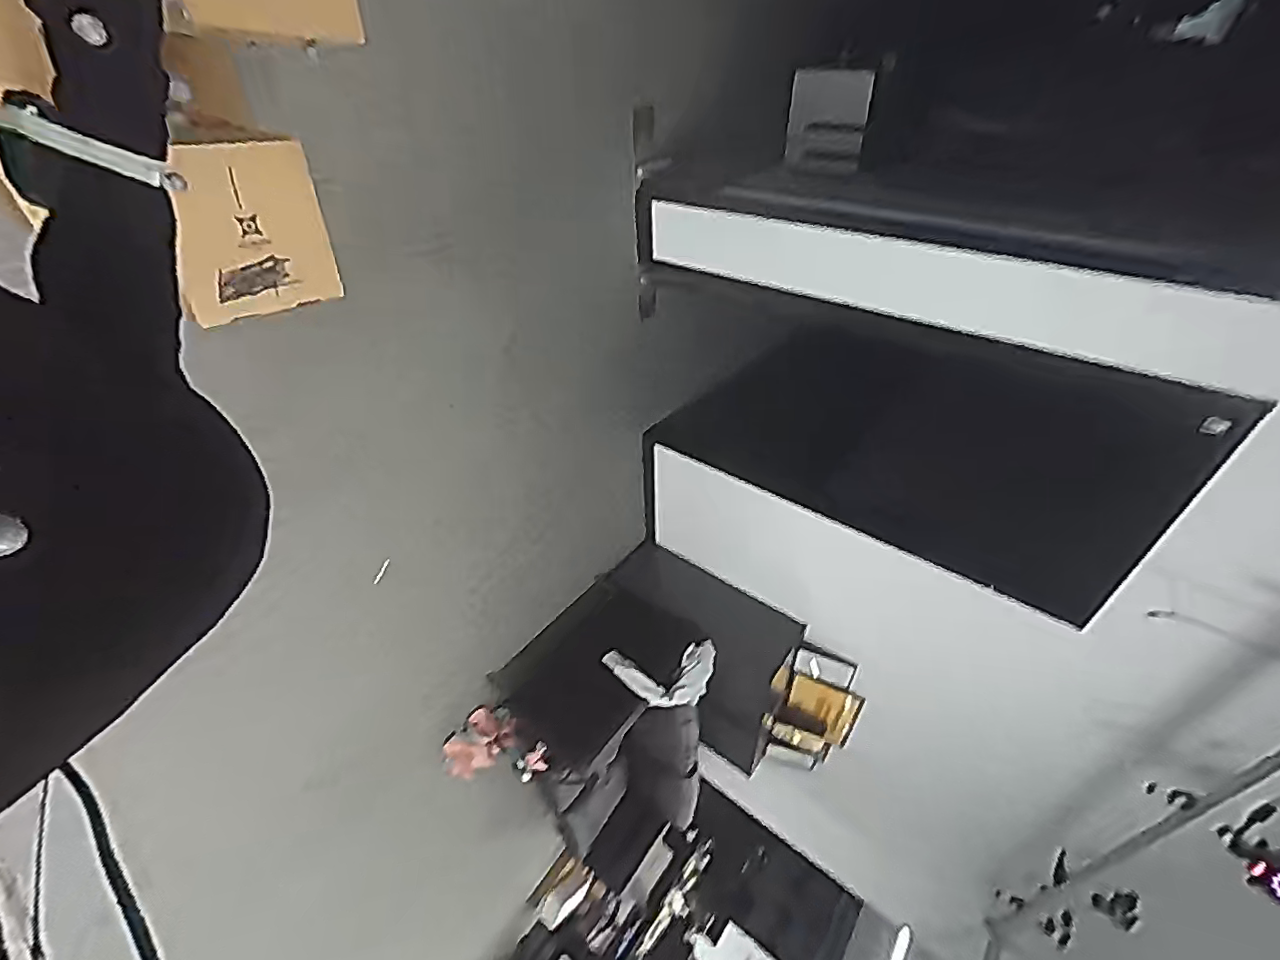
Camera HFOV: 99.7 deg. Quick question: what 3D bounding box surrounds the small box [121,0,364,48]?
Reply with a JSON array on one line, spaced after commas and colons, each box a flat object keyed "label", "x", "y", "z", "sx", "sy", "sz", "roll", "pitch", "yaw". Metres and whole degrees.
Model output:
[{"label": "small box", "x": -0.426, "y": -0.557, "z": 0.555, "sx": 0.179, "sy": 0.176, "sz": 0.168, "roll": -33, "pitch": 138, "yaw": -41}]

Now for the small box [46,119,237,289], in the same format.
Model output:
[{"label": "small box", "x": -0.622, "y": -0.373, "z": 0.717, "sx": 0.168, "sy": 0.176, "sz": 0.179, "roll": -34, "pitch": 139, "yaw": -38}]

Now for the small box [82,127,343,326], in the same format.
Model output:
[{"label": "small box", "x": -0.494, "y": -0.306, "z": 0.639, "sx": 0.168, "sy": 0.176, "sz": 0.179, "roll": -35, "pitch": 140, "yaw": -40}]
